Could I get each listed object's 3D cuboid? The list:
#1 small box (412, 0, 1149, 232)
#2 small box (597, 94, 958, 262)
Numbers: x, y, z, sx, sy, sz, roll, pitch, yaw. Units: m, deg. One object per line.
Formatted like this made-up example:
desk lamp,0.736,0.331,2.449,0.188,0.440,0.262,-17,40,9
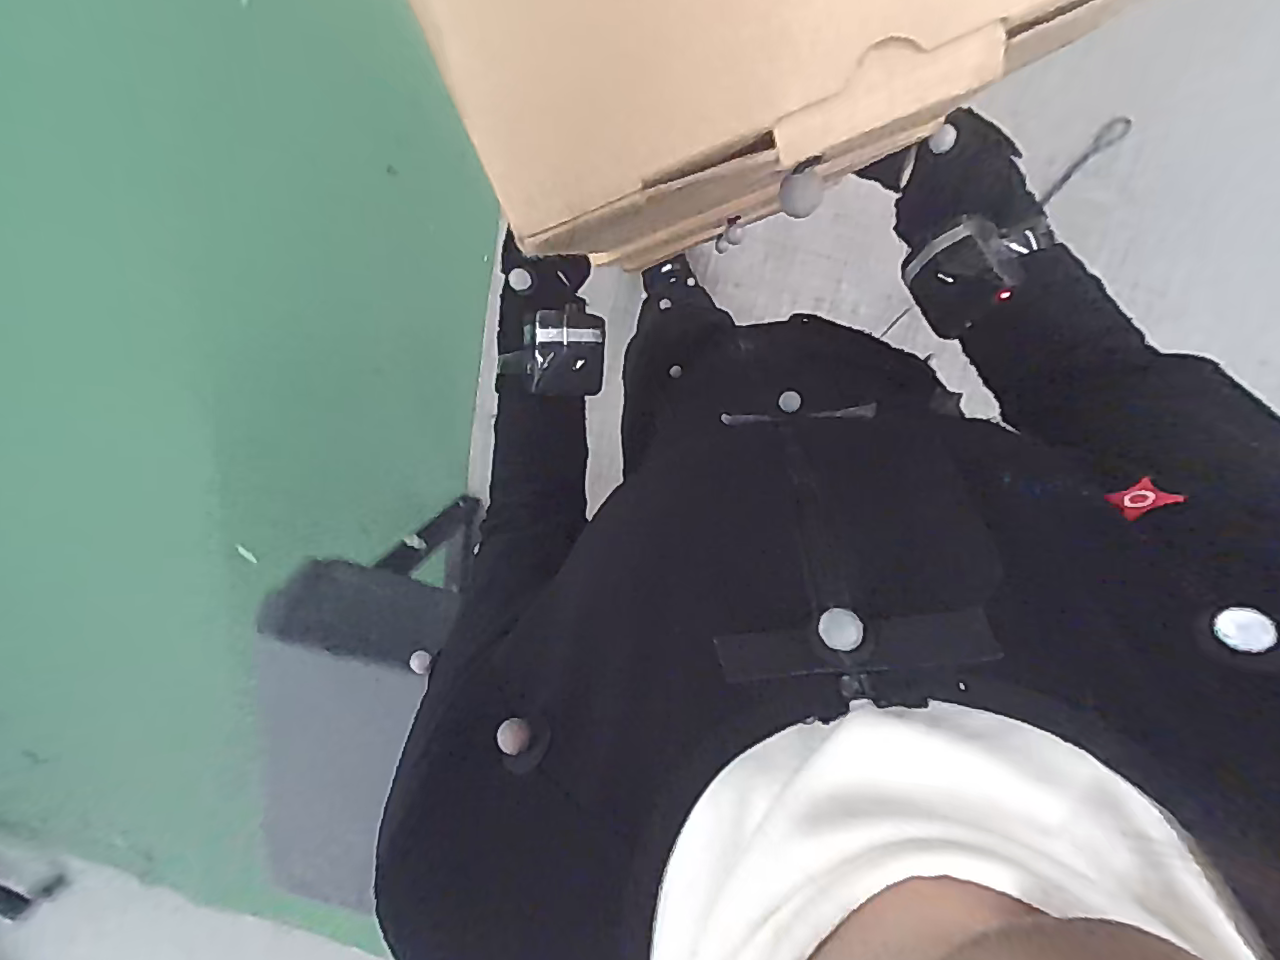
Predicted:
small box,0.024,-0.188,0.153,0.168,0.176,0.179,-16,111,11
small box,0.040,-0.241,0.308,0.179,0.176,0.168,-20,110,11
